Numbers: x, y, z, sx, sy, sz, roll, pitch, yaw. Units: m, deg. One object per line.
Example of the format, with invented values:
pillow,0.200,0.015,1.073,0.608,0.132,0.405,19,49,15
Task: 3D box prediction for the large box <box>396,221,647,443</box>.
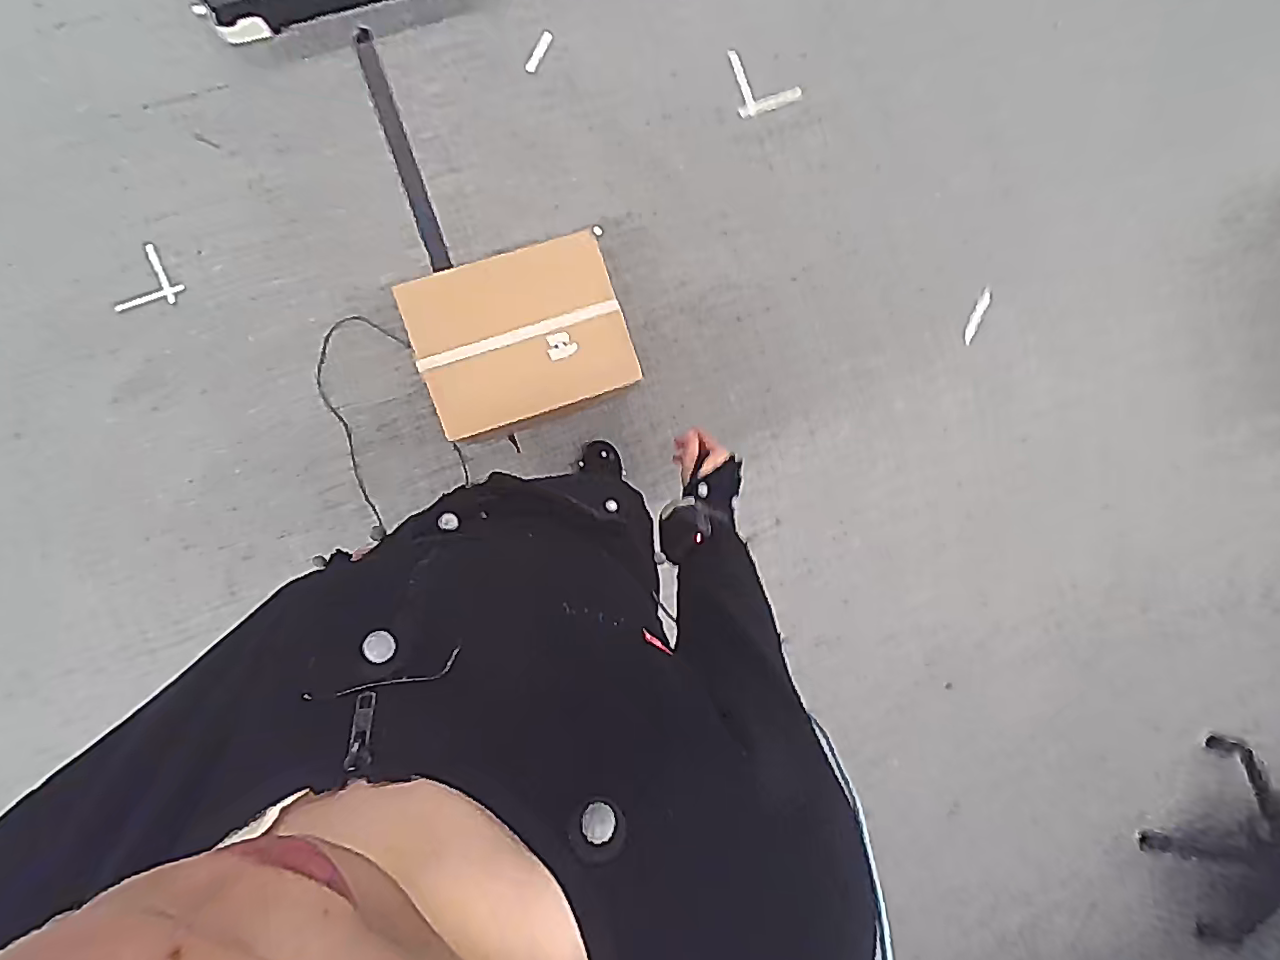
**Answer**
large box,-0.239,-0.292,1.173,0.408,0.320,0.320,-20,96,-7
